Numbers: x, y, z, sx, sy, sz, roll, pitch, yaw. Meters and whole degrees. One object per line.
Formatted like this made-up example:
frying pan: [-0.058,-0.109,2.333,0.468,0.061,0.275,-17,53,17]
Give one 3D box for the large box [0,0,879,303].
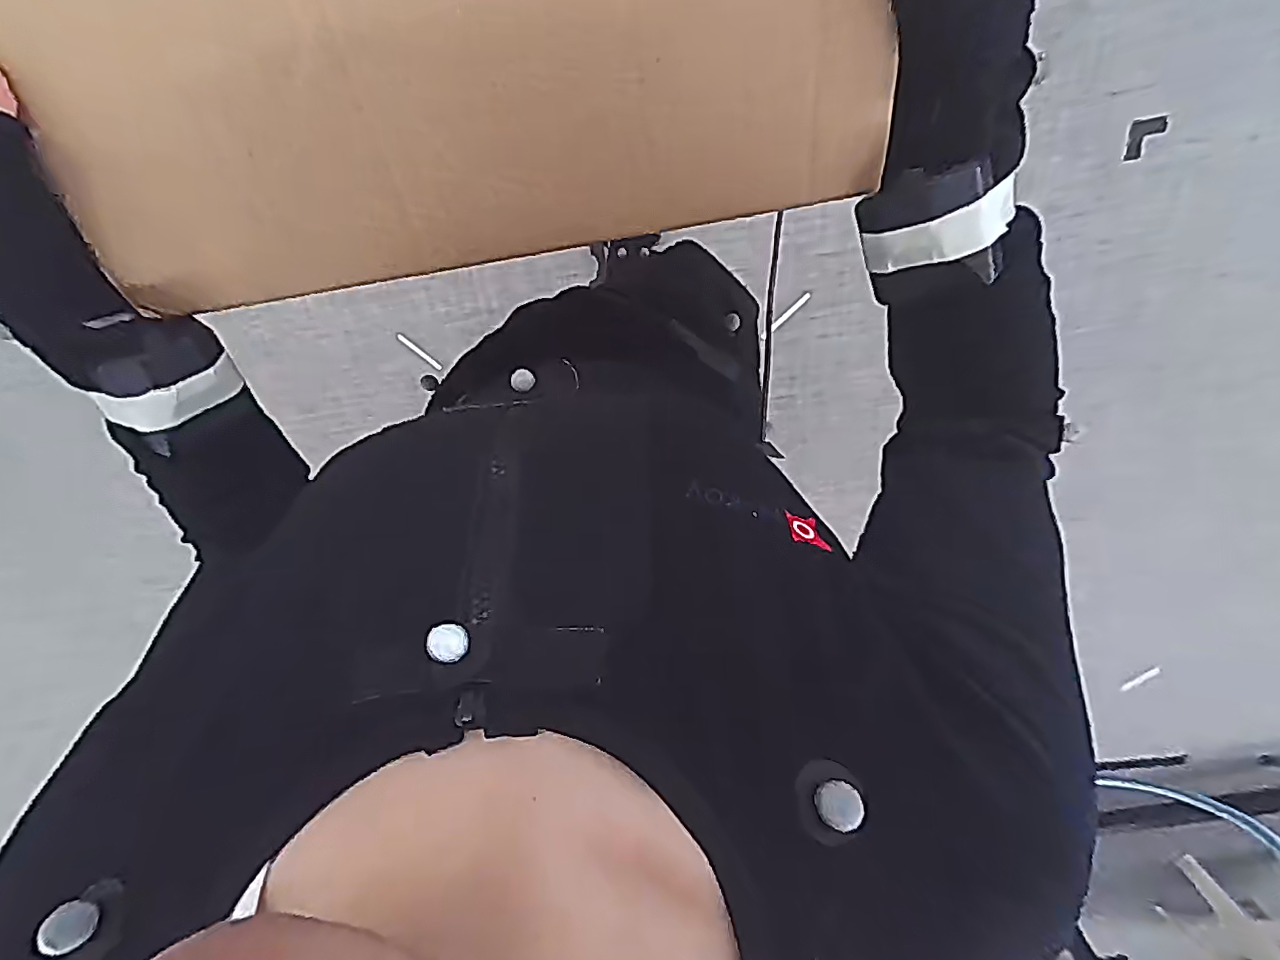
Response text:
large box: [-0.110,-0.342,0.304,0.408,0.320,0.320,-8,131,3]
